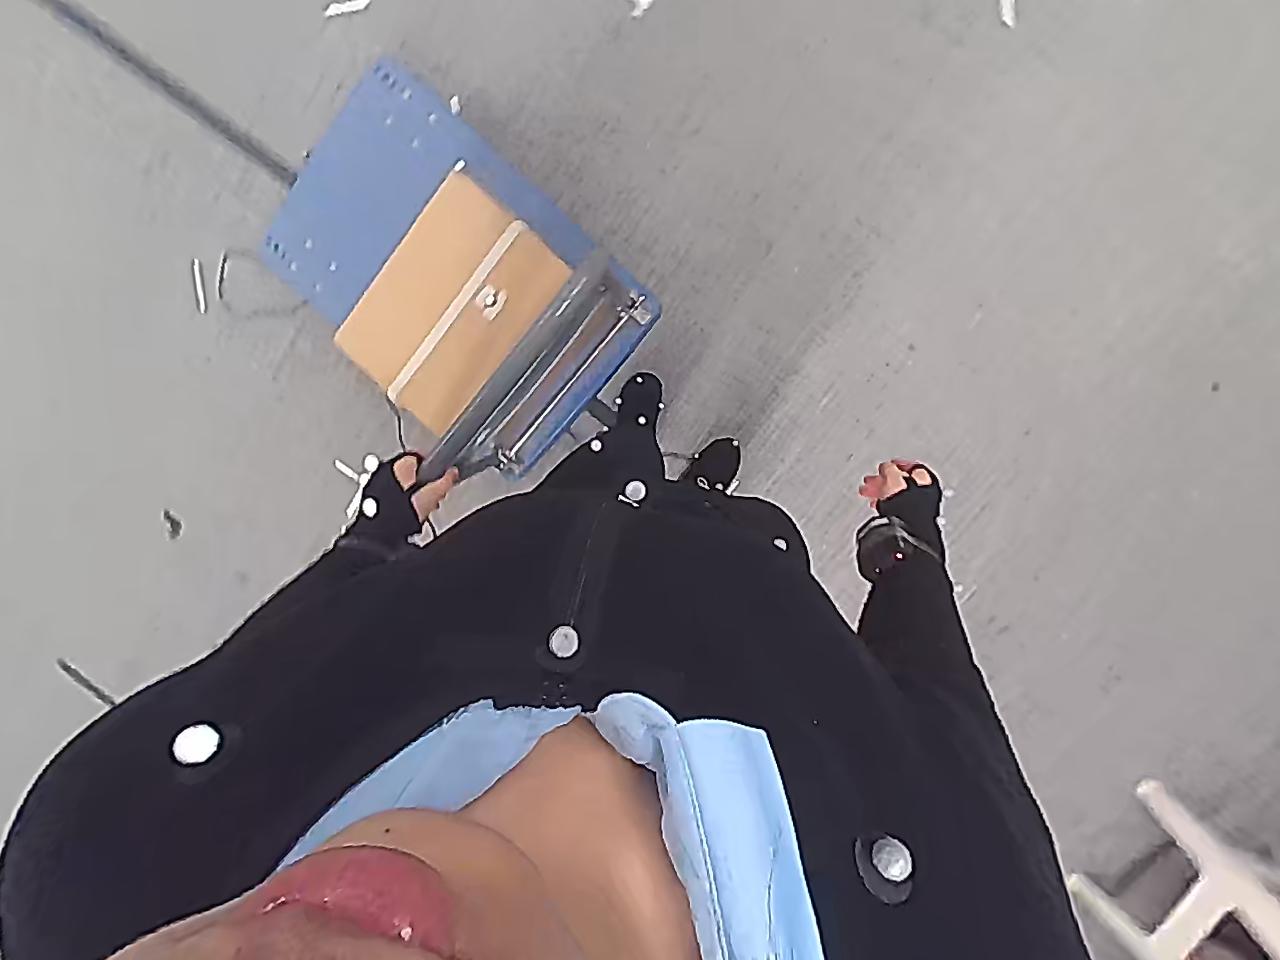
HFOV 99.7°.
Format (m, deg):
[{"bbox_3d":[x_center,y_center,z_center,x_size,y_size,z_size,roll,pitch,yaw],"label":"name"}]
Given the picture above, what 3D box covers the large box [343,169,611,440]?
[{"bbox_3d":[-0.322,-0.340,1.160,0.320,0.320,0.408,43,101,-2],"label":"large box"}]
